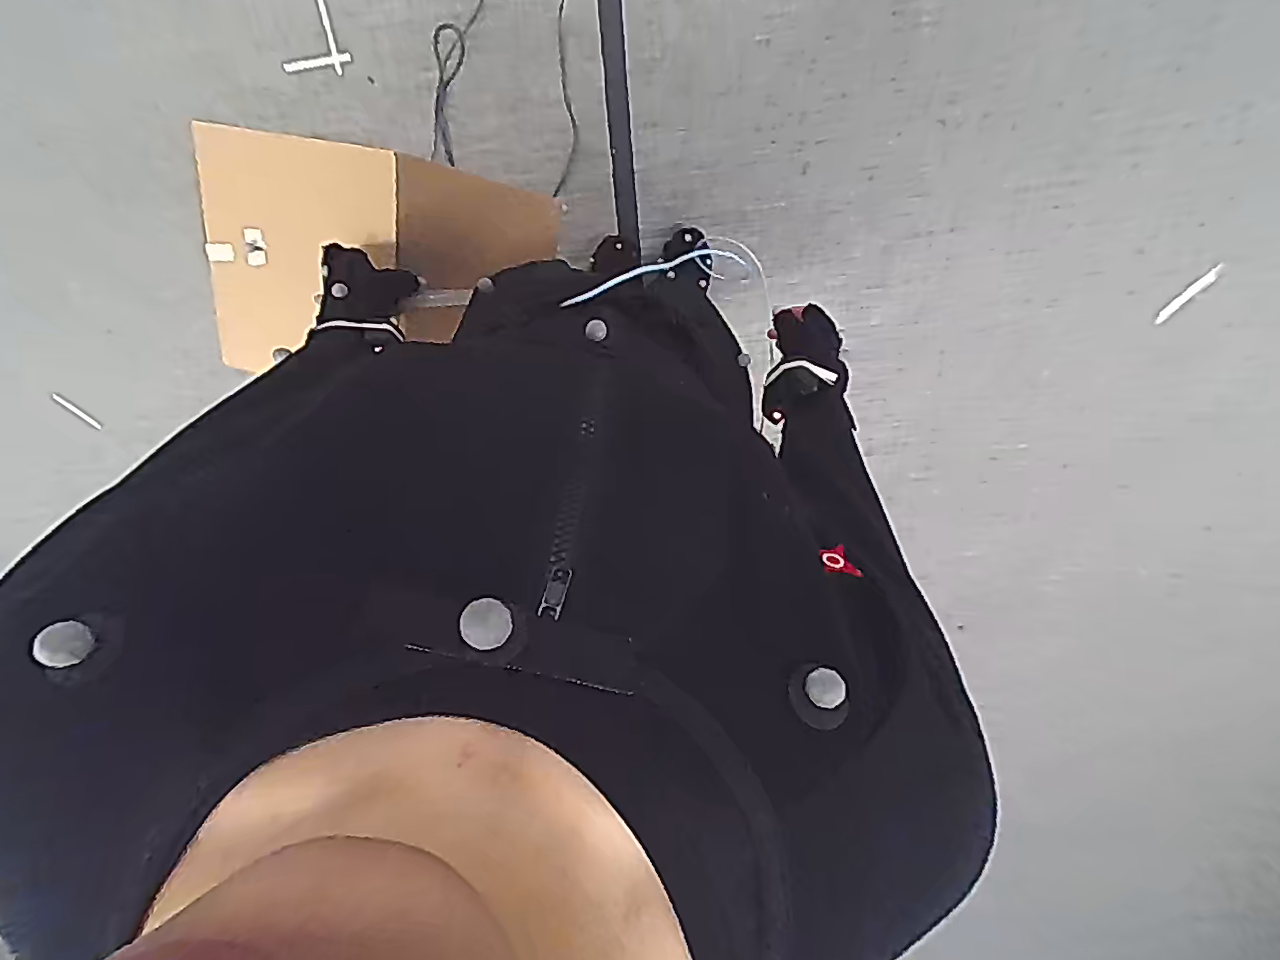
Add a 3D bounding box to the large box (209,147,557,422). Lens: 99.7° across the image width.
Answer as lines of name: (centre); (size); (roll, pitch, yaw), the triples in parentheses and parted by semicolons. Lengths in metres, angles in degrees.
large box: (-0.372, -0.321, 0.883); (0.320, 0.408, 0.320); (16, 114, 12)
